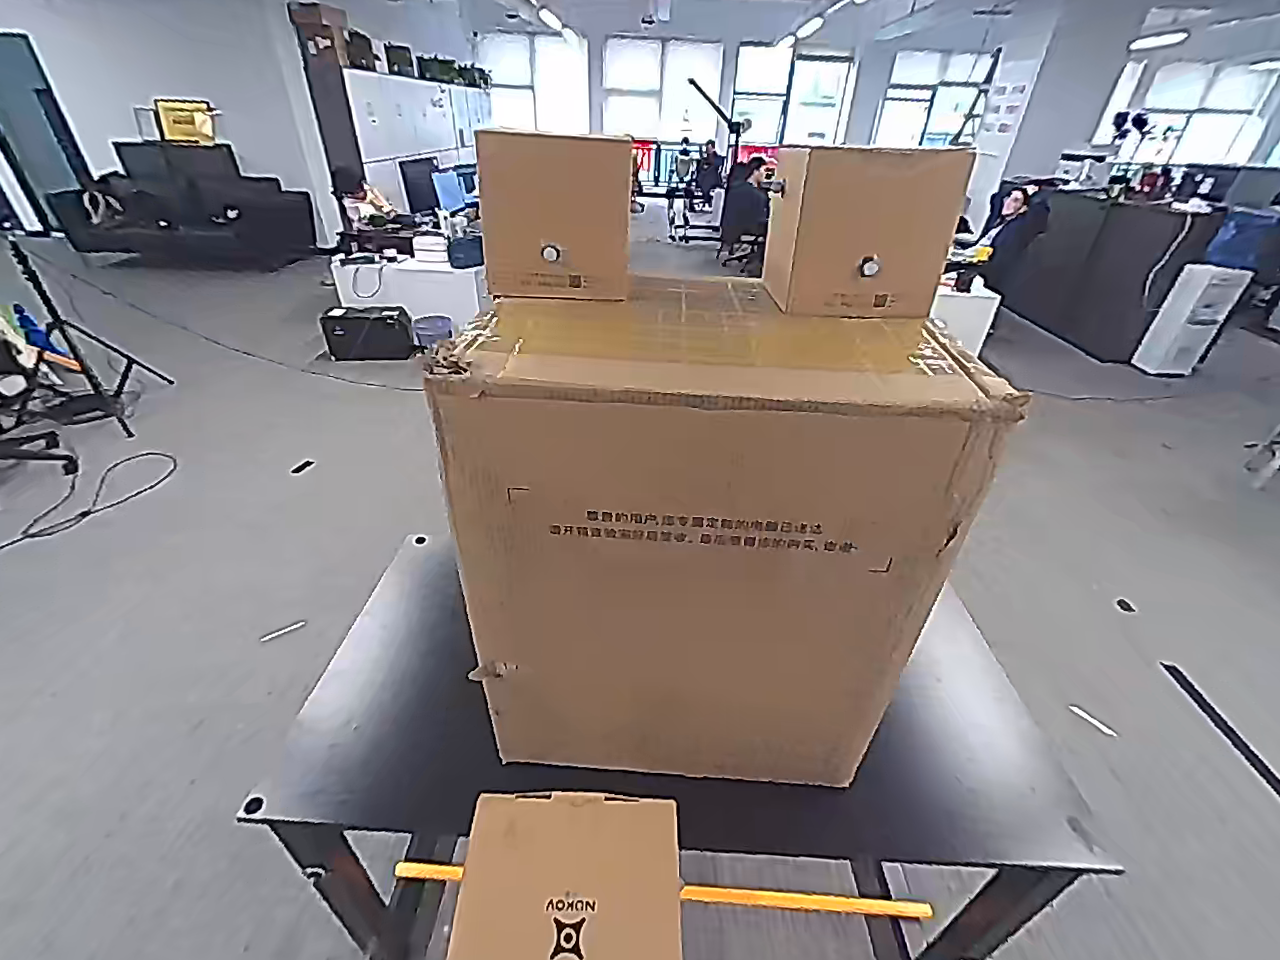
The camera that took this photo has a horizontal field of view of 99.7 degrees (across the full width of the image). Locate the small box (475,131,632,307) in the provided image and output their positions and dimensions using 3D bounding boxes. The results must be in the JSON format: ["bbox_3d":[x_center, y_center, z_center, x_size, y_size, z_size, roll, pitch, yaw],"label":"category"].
[{"bbox_3d":[-0.099,-0.325,0.672,0.168,0.176,0.179,1,33,-5],"label":"small box"}]

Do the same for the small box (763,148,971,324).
[{"bbox_3d":[0.249,-0.296,0.648,0.168,0.176,0.179,1,32,1],"label":"small box"}]

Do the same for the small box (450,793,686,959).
[{"bbox_3d":[-0.057,0.380,0.438,0.168,0.176,0.179,4,43,-3],"label":"small box"}]
